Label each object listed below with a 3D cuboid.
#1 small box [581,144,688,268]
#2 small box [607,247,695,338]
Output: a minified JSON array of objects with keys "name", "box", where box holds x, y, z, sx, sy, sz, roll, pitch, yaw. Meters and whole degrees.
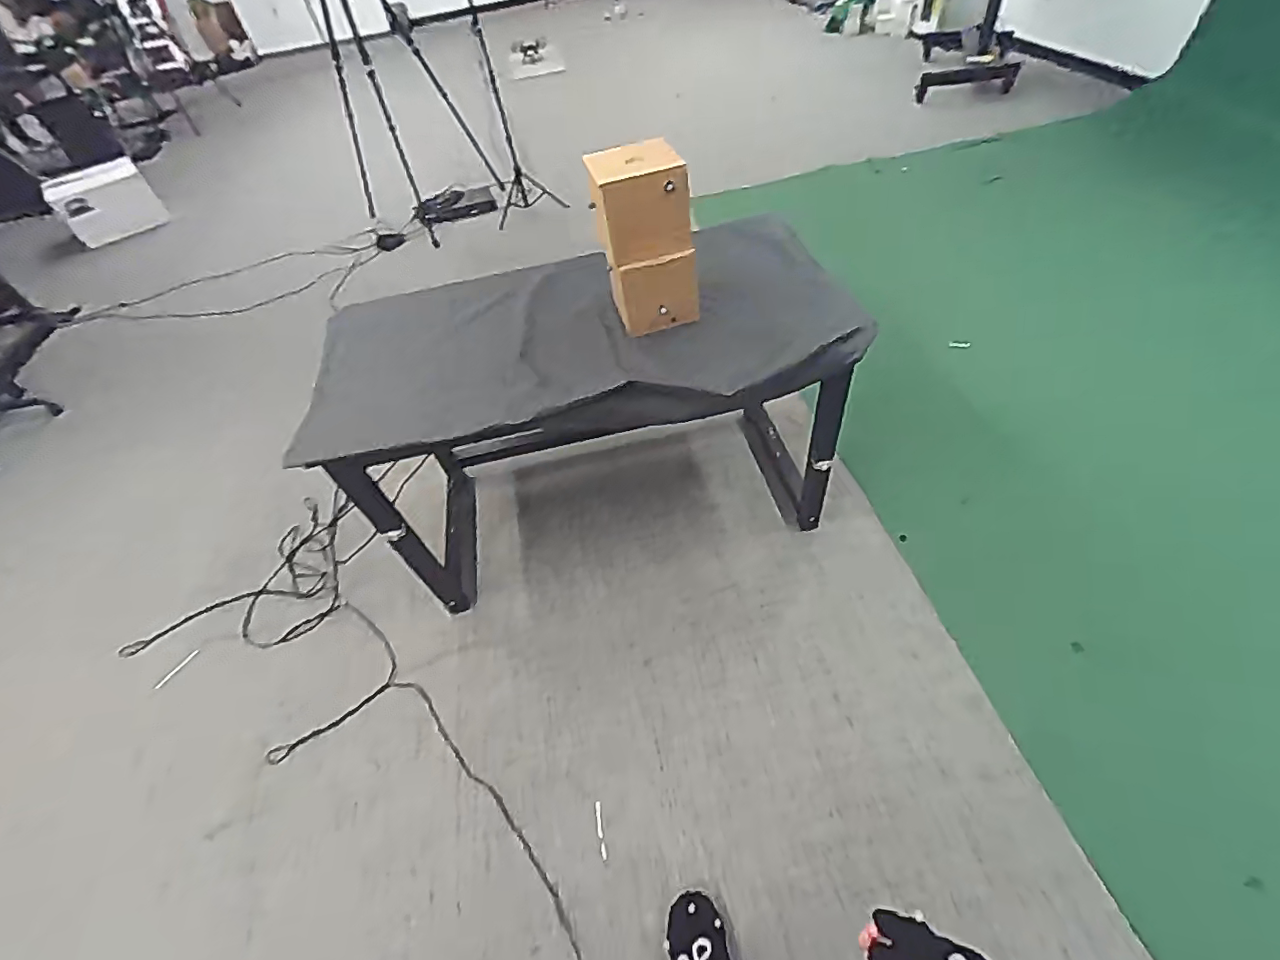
[{"name":"small box","box":[-0.009,-0.563,1.118,0.179,0.176,0.168,-16,49,-5]},{"name":"small box","box":[0.022,-0.453,1.235,0.168,0.176,0.179,-15,50,-4]}]
